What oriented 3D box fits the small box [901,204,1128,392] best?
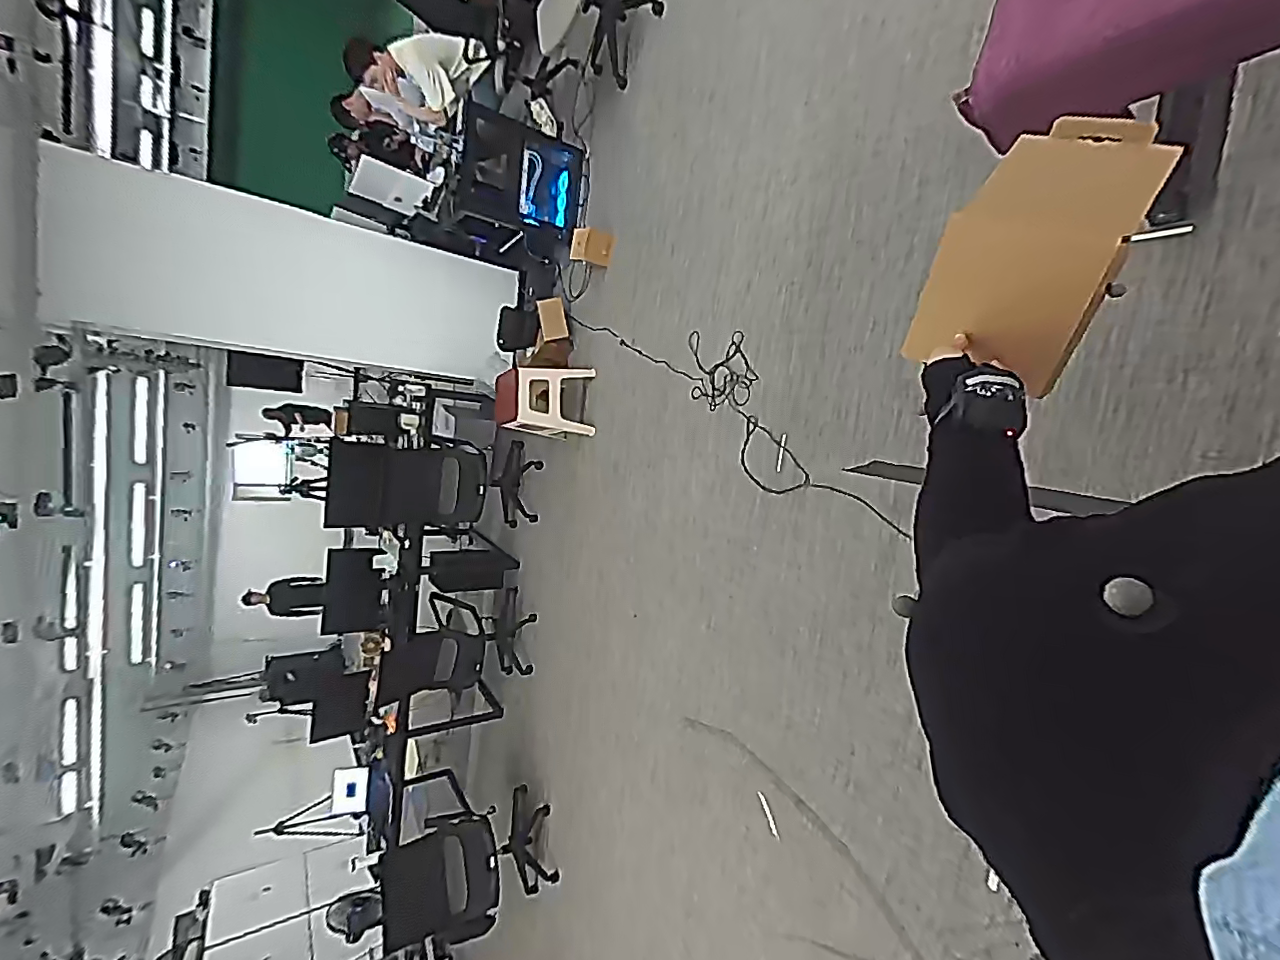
[{"bbox_3d":[0.463,-0.225,0.679,0.168,0.176,0.179,30,119,32],"label":"small box"}]
